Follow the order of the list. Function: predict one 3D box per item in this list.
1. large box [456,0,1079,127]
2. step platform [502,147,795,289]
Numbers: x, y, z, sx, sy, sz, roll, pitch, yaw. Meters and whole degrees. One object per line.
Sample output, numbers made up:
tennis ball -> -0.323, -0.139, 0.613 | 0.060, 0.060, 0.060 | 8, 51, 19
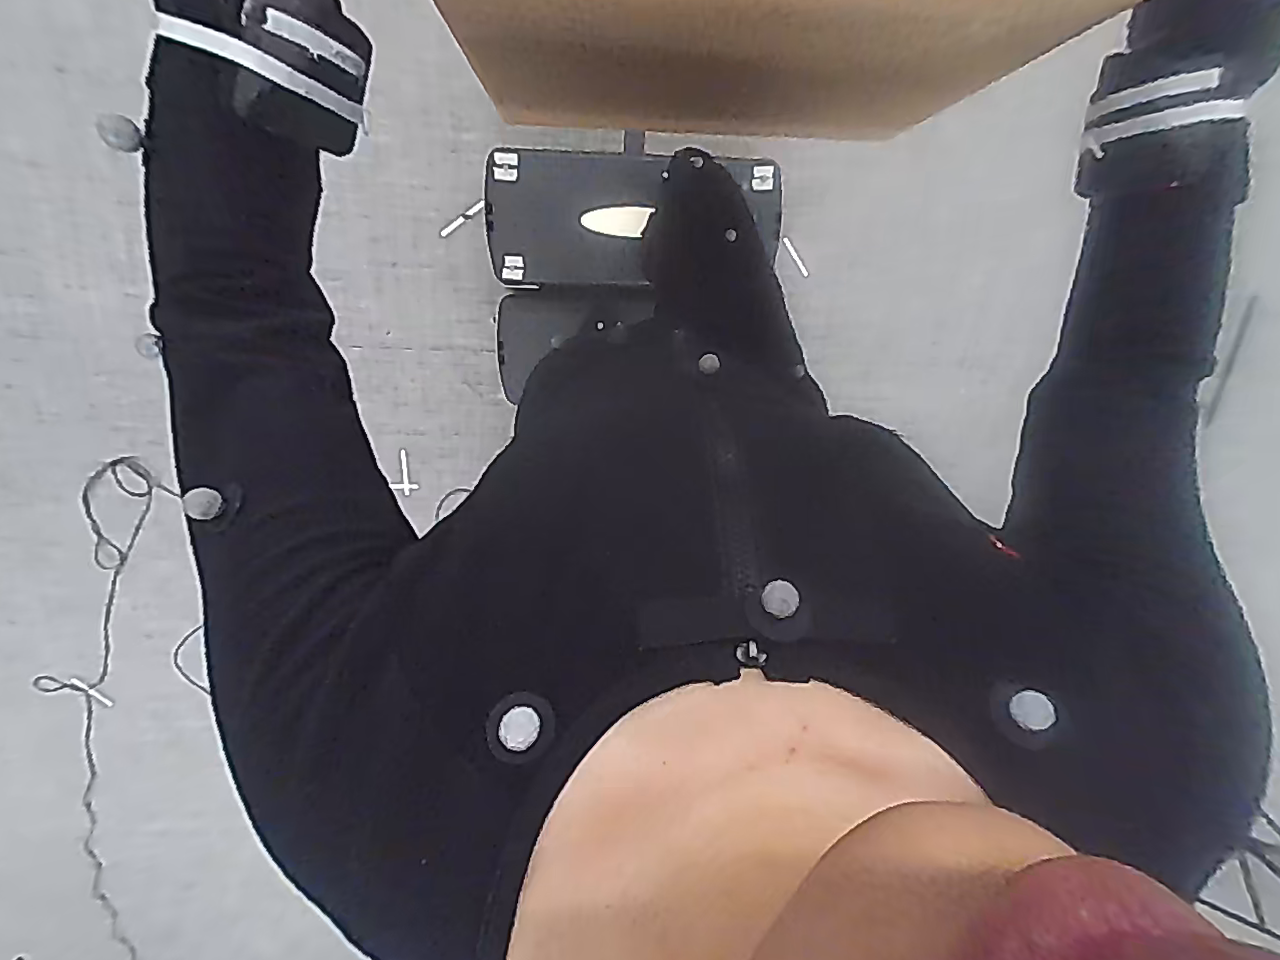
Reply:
large box -> 0.073, -0.467, 0.374 | 0.408, 0.320, 0.320 | -1, 109, -5
step platform -> 0.019, -0.617, 1.302 | 0.684, 0.204, 0.286 | -1, 109, -5
